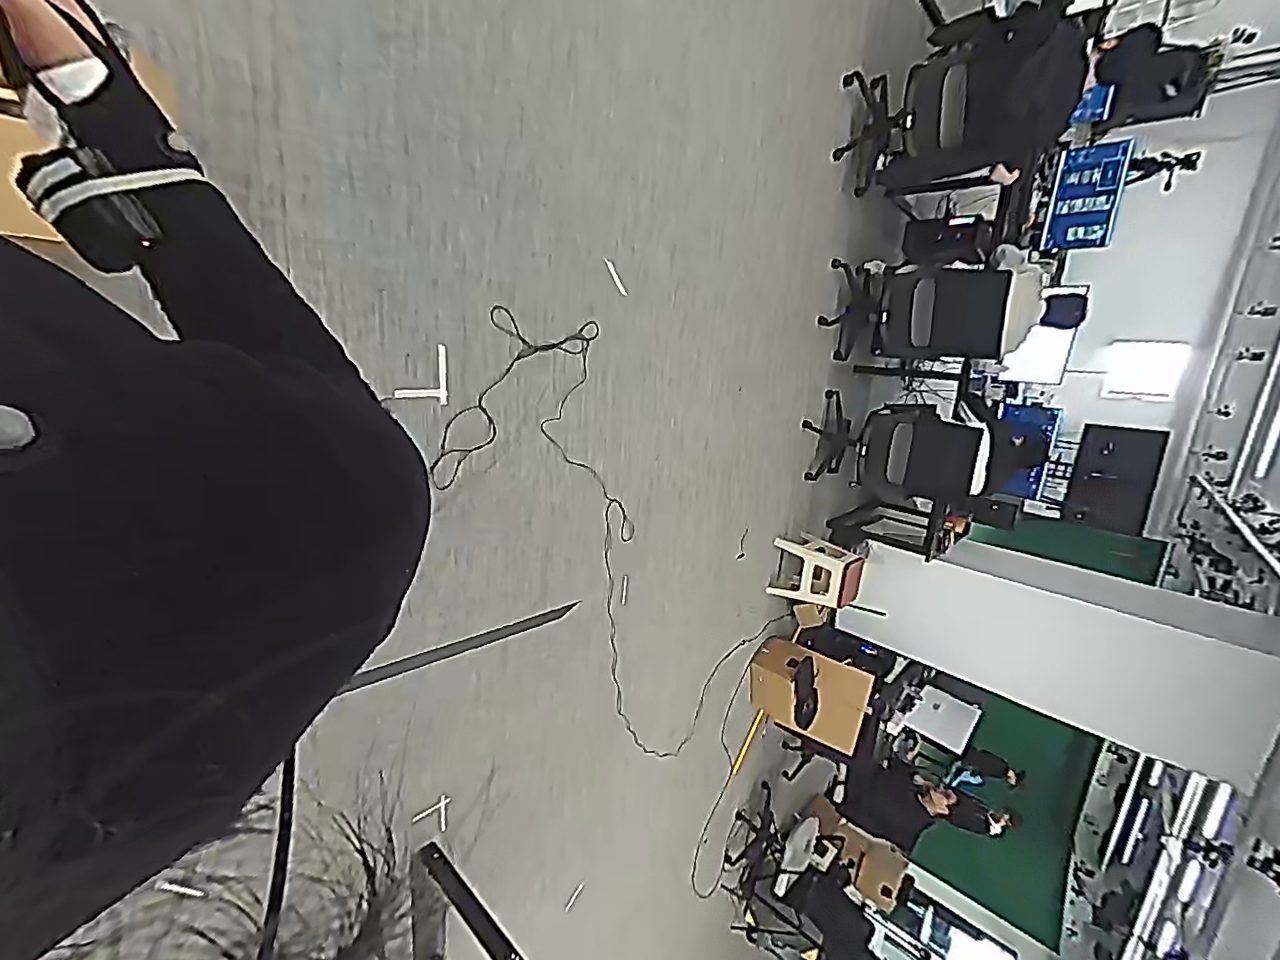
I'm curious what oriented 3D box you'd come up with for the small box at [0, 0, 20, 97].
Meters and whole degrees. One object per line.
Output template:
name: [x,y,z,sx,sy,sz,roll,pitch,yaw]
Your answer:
small box: [-0.402,-0.285,0.221,0.168,0.176,0.179,-14,122,-41]
